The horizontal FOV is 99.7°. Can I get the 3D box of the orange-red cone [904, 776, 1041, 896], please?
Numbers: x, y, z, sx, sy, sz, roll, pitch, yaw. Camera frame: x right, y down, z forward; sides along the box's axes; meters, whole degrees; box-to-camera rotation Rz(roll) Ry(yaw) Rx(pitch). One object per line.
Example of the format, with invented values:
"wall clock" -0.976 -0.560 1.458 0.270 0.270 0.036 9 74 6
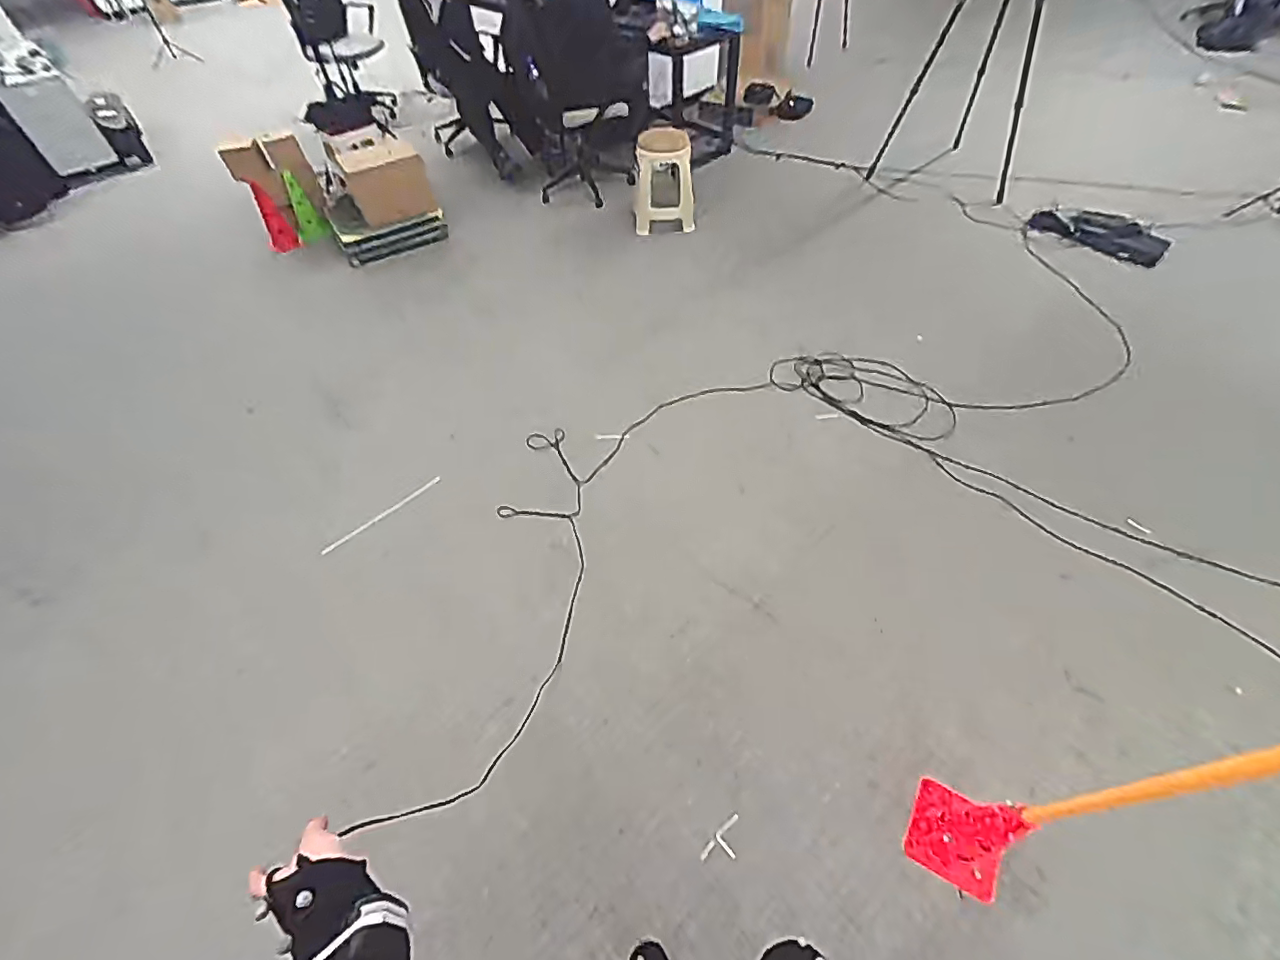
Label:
"orange-red cone" 0.758 0.750 1.181 0.198 0.360 0.199 26 56 20
